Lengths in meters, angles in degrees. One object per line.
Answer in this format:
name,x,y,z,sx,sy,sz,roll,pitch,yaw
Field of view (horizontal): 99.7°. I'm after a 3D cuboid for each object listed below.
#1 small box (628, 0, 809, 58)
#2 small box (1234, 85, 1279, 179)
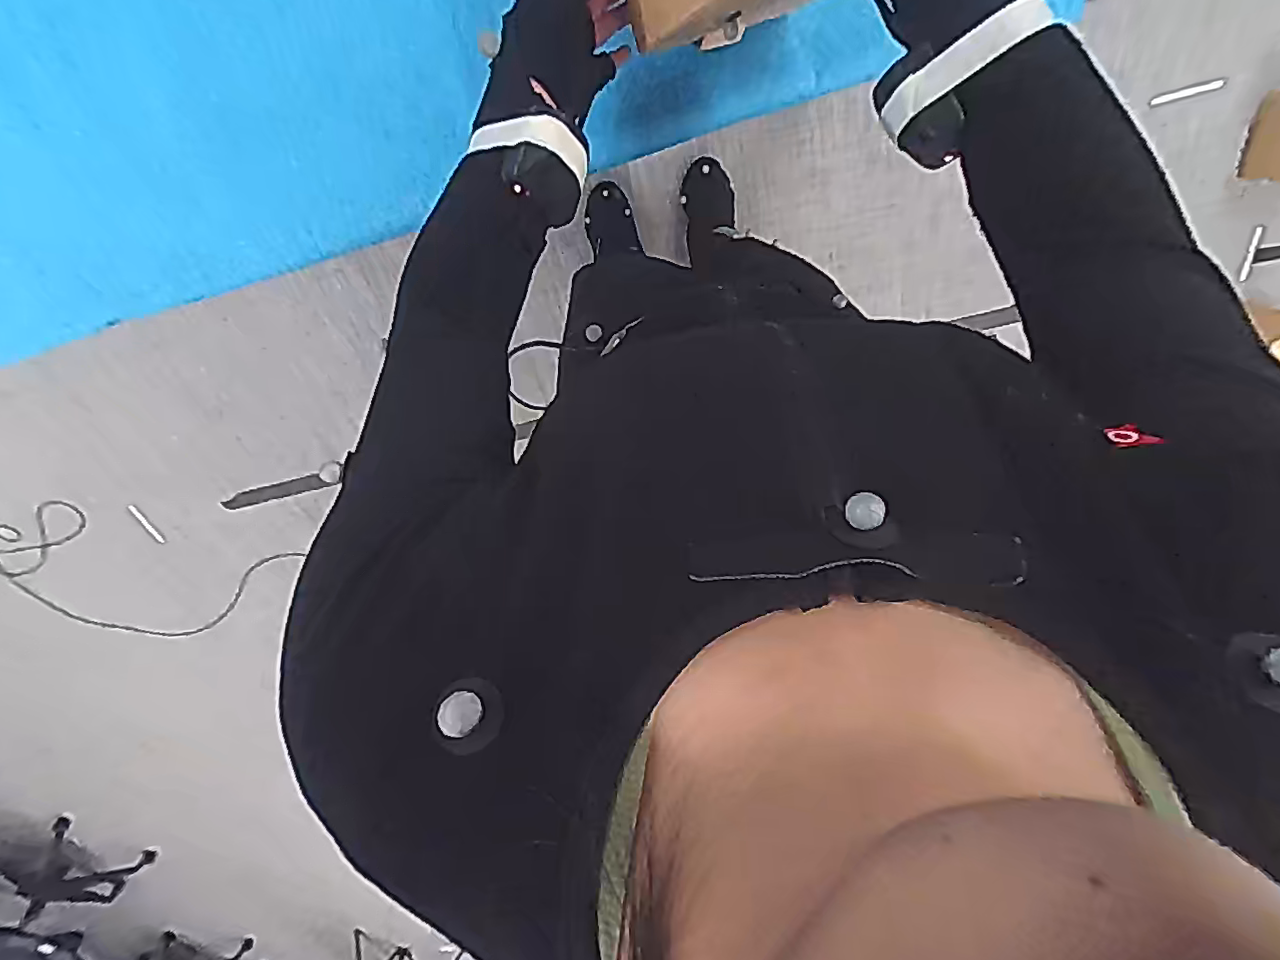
small box,0.079,-0.447,0.381,0.168,0.176,0.179,-28,121,-14
small box,1.478,-0.771,1.179,0.168,0.176,0.179,-12,122,3
